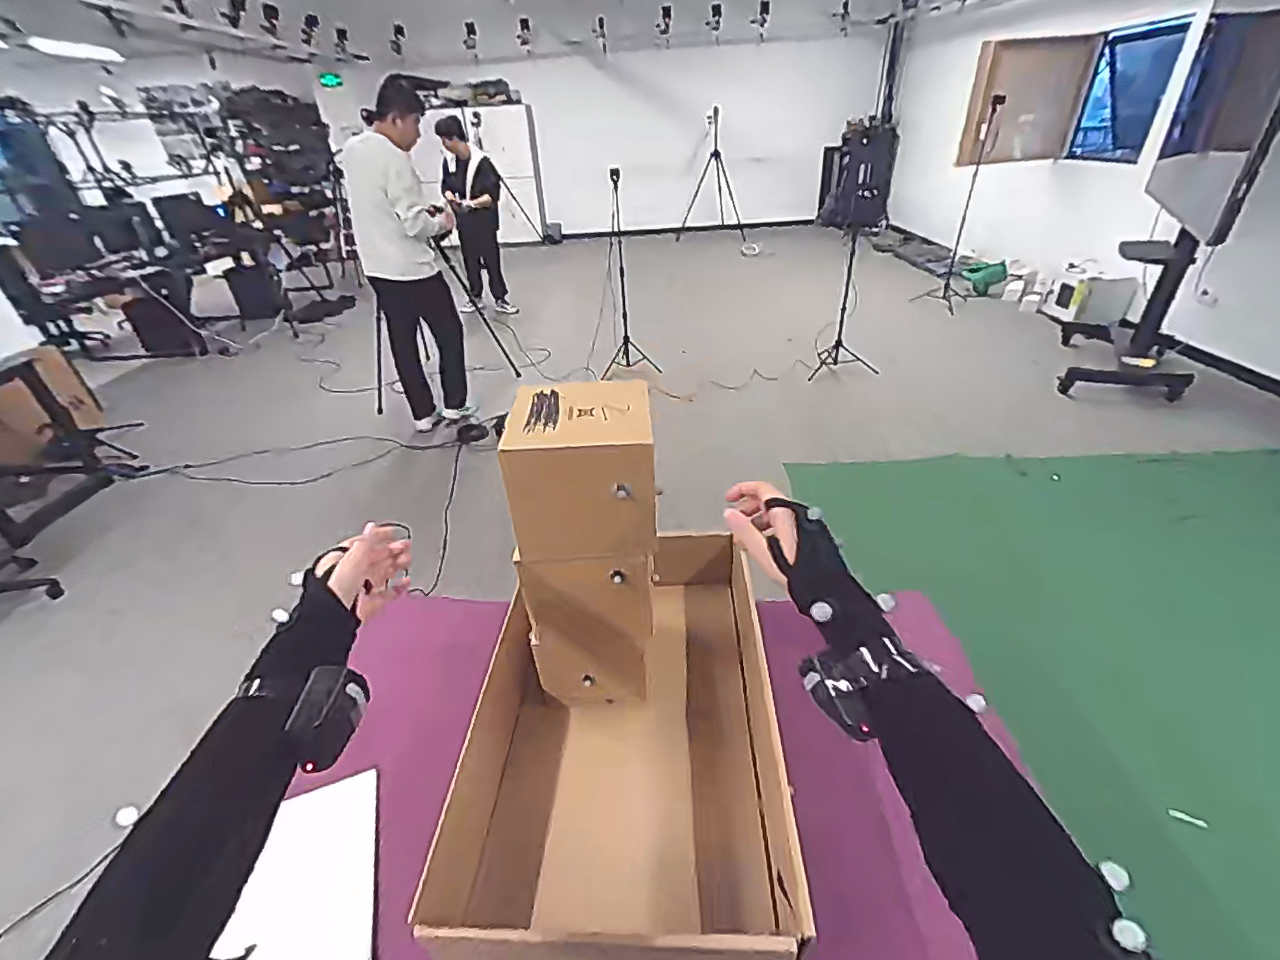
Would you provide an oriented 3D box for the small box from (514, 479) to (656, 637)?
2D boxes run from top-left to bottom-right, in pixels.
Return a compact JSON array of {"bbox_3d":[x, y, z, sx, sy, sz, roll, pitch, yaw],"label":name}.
[{"bbox_3d":[-0.069,0.116,0.796,0.179,0.176,0.168,-2,36,2],"label":"small box"}]

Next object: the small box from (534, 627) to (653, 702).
[{"bbox_3d":[-0.065,0.246,0.892,0.168,0.176,0.179,-1,36,4],"label":"small box"}]
